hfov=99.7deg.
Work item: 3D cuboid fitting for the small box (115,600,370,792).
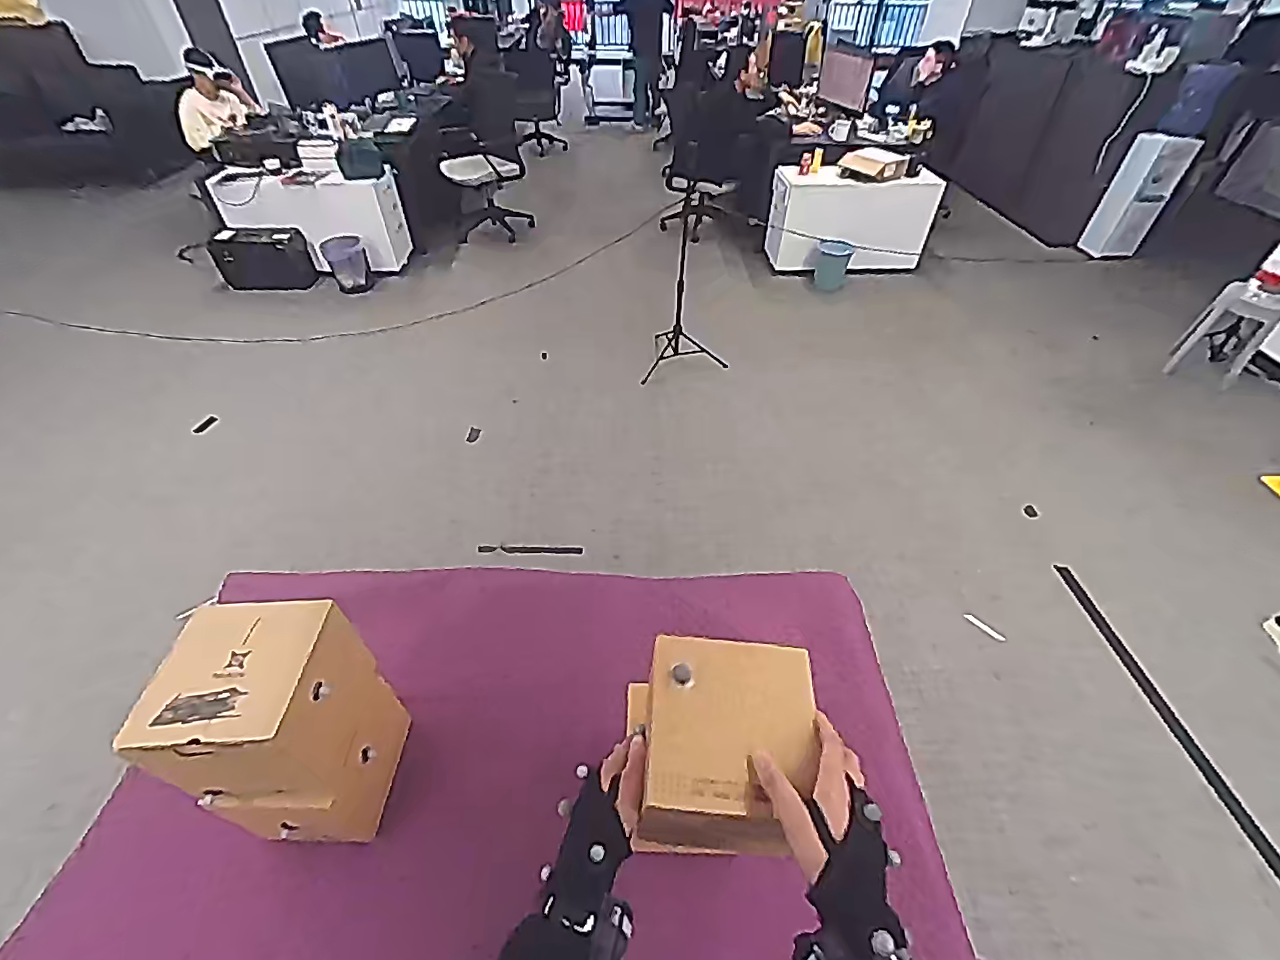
[{"bbox_3d":[-0.462,0.271,0.671,0.168,0.176,0.179,-1,44,-3],"label":"small box"}]

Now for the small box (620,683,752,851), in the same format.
[{"bbox_3d":[0.060,0.412,0.774,0.168,0.176,0.179,1,43,1],"label":"small box"}]

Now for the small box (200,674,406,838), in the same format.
[{"bbox_3d":[-0.460,0.396,0.778,0.168,0.176,0.179,2,44,0],"label":"small box"}]
